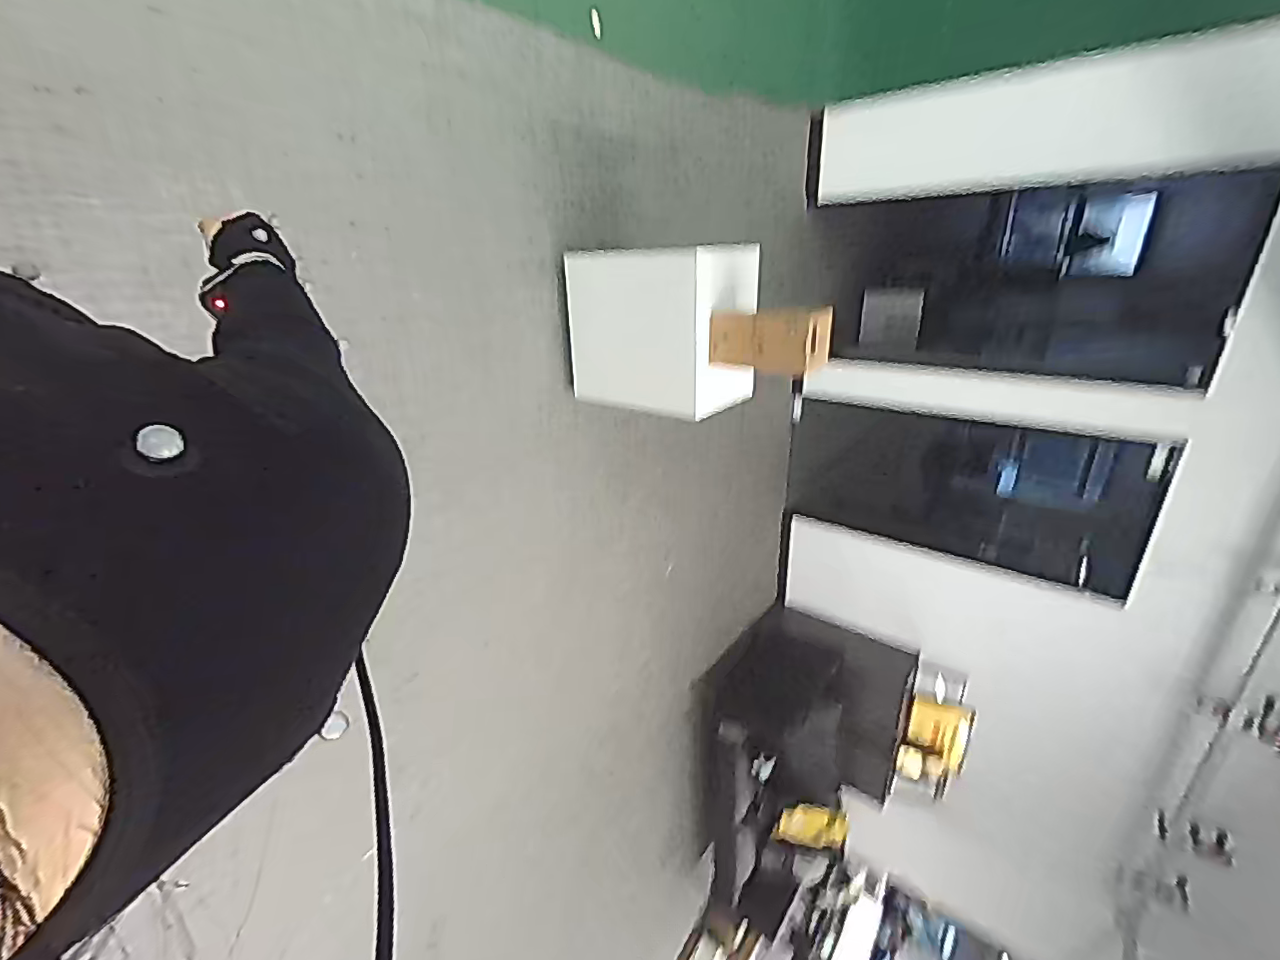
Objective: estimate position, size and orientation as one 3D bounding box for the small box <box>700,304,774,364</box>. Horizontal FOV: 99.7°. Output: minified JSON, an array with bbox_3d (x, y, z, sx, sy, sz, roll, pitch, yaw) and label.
[{"bbox_3d":[0.311,-0.475,1.740,0.179,0.176,0.168,-26,124,-48],"label":"small box"}]
